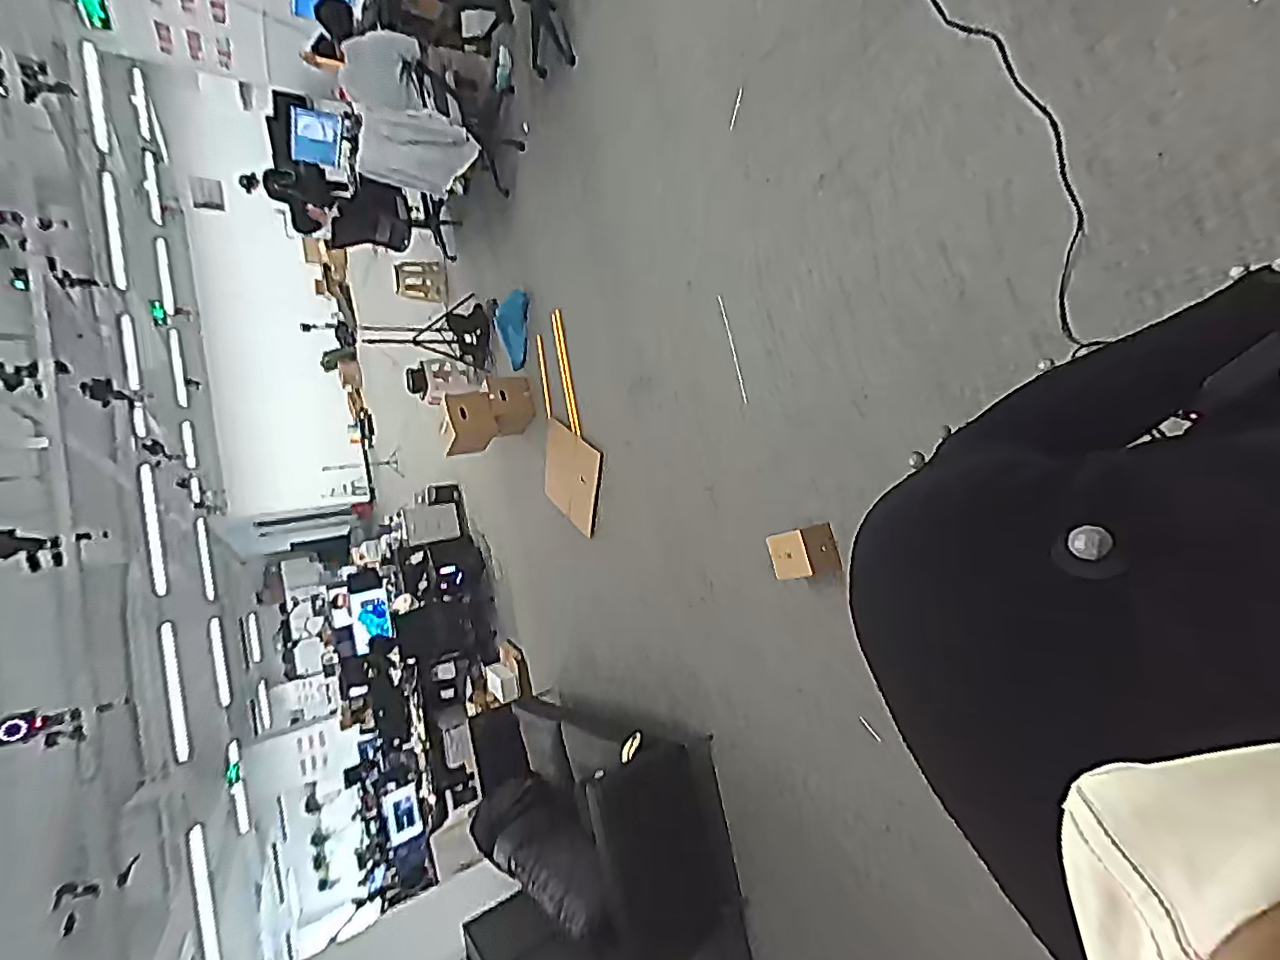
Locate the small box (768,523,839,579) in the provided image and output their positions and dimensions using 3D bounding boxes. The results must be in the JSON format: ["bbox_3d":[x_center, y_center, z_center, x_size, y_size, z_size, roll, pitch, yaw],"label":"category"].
[{"bbox_3d":[0.616,0.262,2.011,0.179,0.176,0.168,-26,75,56],"label":"small box"}]
